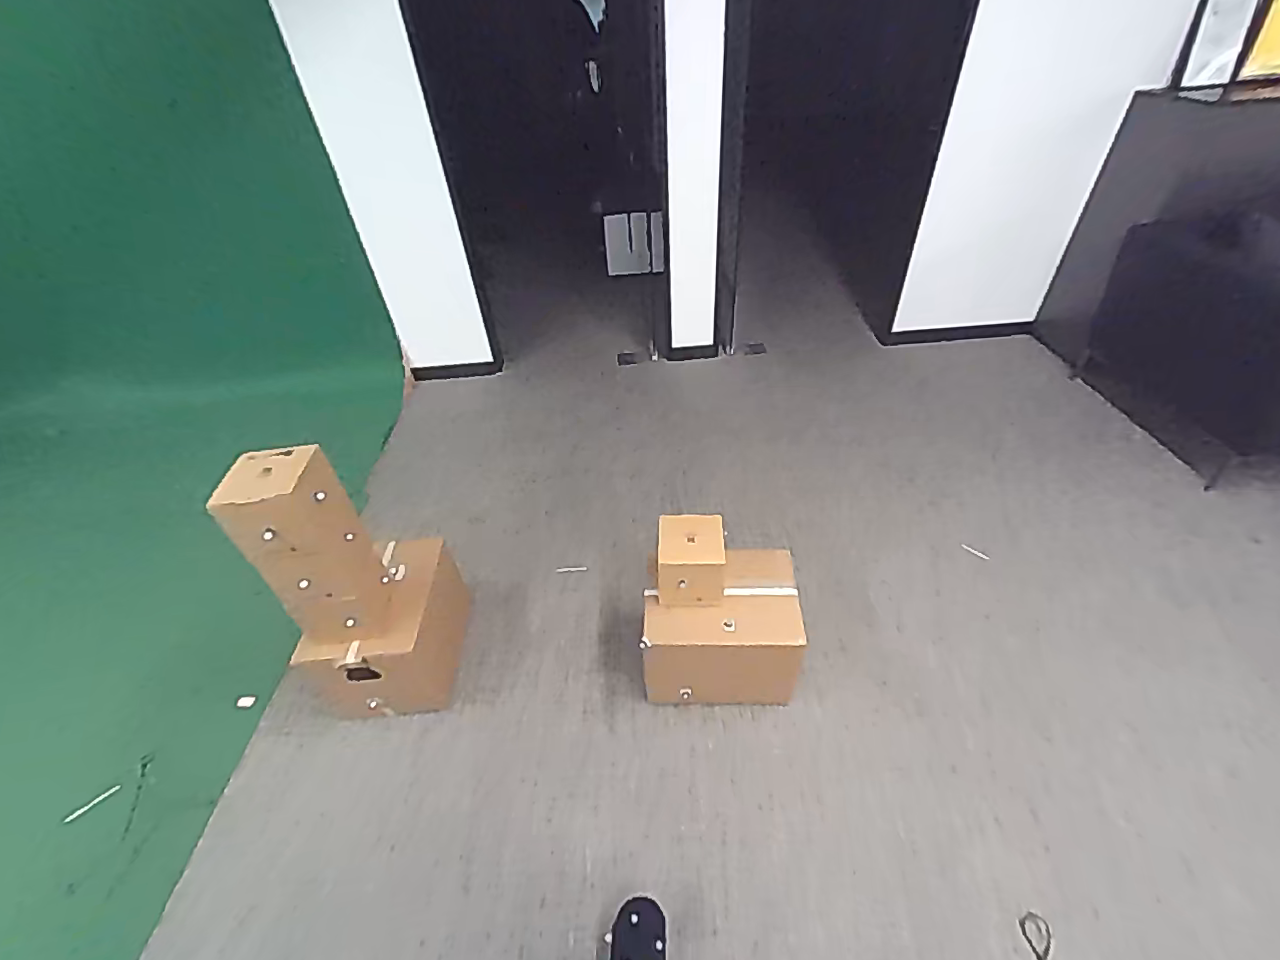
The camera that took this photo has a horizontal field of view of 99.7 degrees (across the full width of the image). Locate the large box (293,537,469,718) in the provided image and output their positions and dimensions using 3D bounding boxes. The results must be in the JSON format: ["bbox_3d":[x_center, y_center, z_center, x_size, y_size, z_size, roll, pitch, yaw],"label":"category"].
[{"bbox_3d":[-0.730,0.430,1.605,0.320,0.320,0.408,-5,40,-1],"label":"large box"}]

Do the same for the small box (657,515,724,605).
[{"bbox_3d":[0.132,0.210,1.415,0.168,0.176,0.179,0,39,4],"label":"small box"}]

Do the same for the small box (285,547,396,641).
[{"bbox_3d":[-0.756,0.295,1.392,0.179,0.176,0.168,-6,40,-1],"label":"small box"}]

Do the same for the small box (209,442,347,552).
[{"bbox_3d":[-0.772,0.043,1.180,0.168,0.176,0.179,-7,41,-3],"label":"small box"}]

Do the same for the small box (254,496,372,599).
[{"bbox_3d":[-0.765,0.167,1.290,0.168,0.176,0.179,-8,40,-5],"label":"small box"}]
